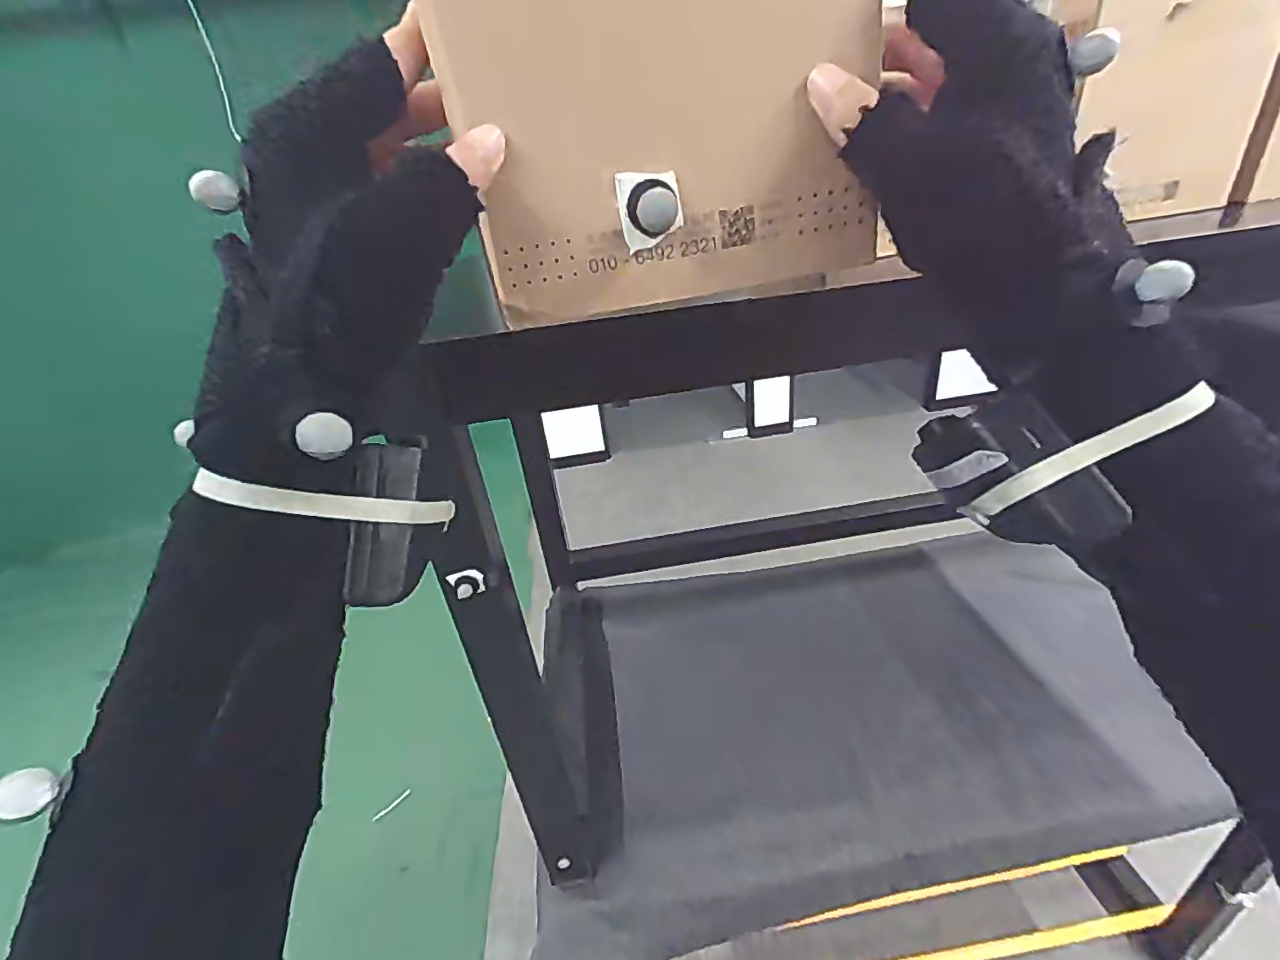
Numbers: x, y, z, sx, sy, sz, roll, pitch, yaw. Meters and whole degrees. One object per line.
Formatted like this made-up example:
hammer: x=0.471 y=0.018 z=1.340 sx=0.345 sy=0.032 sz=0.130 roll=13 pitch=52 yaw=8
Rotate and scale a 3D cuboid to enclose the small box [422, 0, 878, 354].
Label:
small box: x=0.001 y=-0.174 z=0.279 sx=0.168 sy=0.176 sz=0.179 roll=-13 pitch=27 yaw=-2
